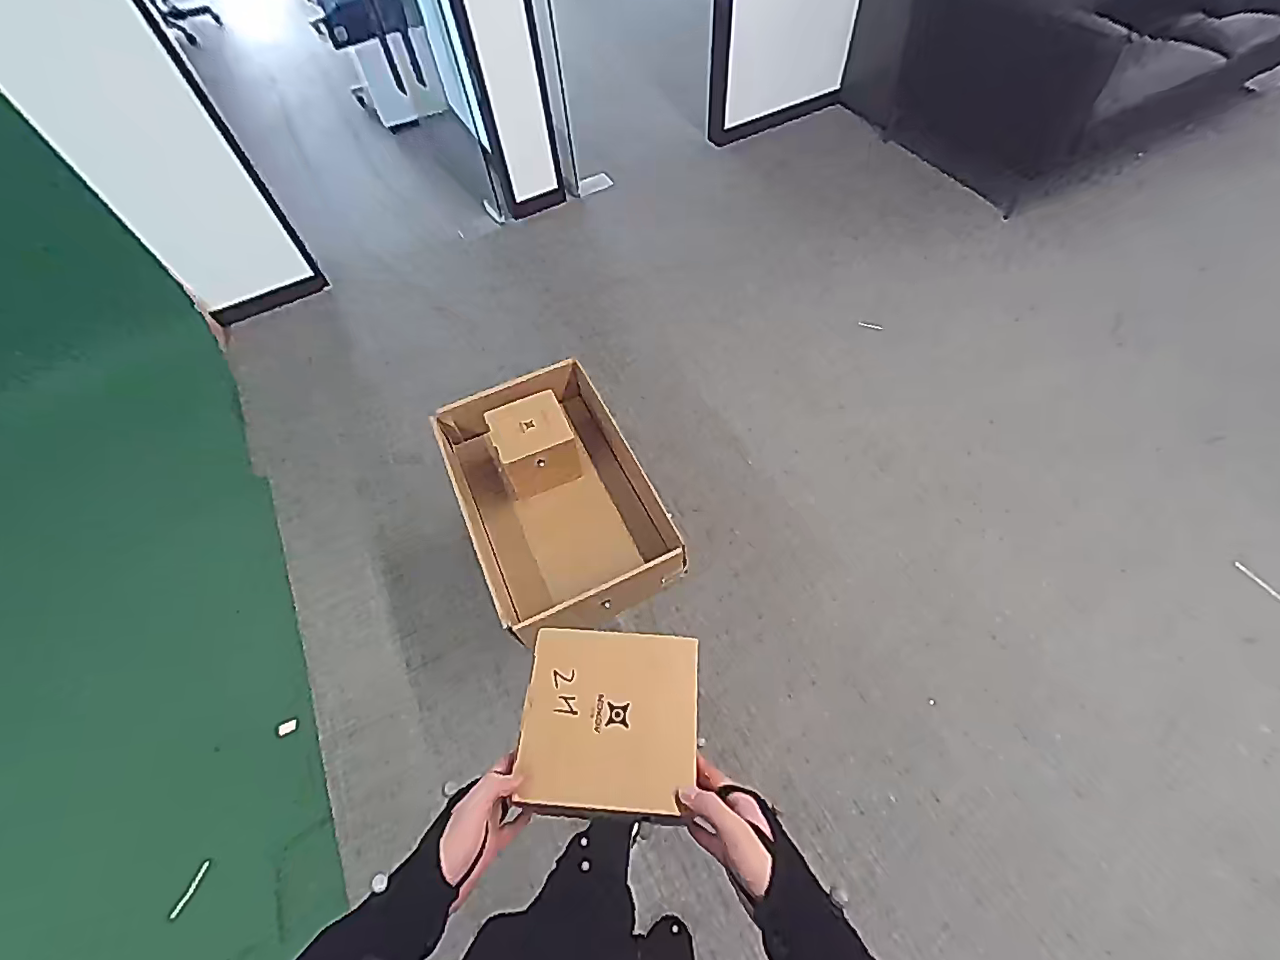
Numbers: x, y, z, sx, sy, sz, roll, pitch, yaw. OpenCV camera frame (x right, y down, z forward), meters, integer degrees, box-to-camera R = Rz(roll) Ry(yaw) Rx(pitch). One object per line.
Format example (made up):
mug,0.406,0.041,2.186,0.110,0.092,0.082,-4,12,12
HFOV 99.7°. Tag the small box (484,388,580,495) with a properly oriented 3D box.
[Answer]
small box,-0.258,-0.089,1.318,0.179,0.176,0.168,-20,60,-12

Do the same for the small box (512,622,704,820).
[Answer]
small box,-0.026,0.273,0.603,0.179,0.176,0.168,4,54,3
